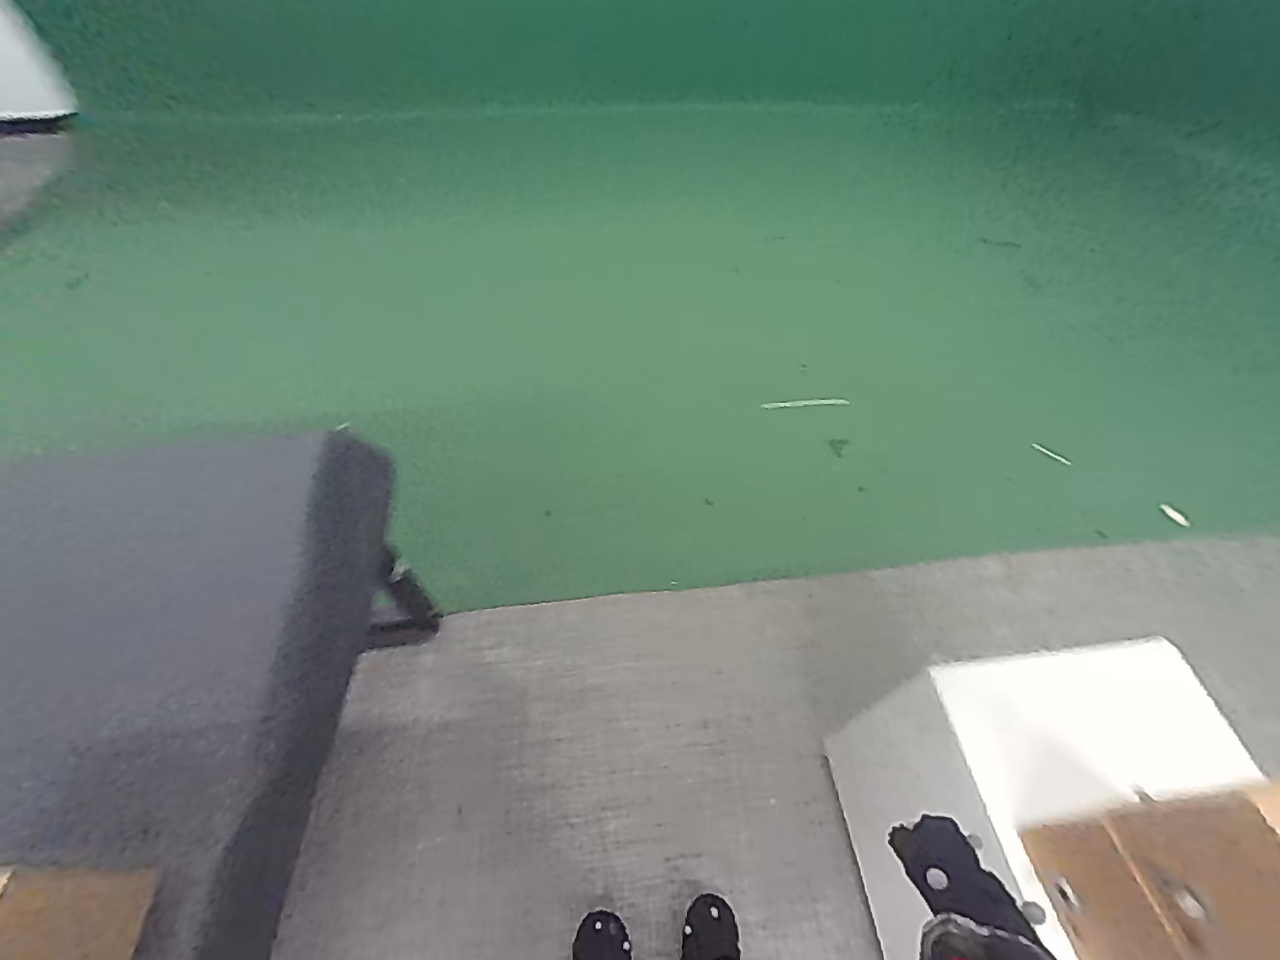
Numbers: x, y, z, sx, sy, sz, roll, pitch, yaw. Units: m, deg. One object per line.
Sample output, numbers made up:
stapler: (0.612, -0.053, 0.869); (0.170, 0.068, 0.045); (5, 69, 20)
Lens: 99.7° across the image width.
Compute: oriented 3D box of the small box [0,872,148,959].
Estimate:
small box: (-0.556, 0.425, 0.425); (0.168, 0.176, 0.179); (-4, 55, -2)

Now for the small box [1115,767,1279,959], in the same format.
small box: (0.579, 0.346, 0.457); (0.179, 0.176, 0.168); (-10, 55, -9)

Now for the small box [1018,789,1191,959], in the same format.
small box: (0.573, 0.446, 0.588); (0.179, 0.176, 0.168); (-10, 54, -6)
